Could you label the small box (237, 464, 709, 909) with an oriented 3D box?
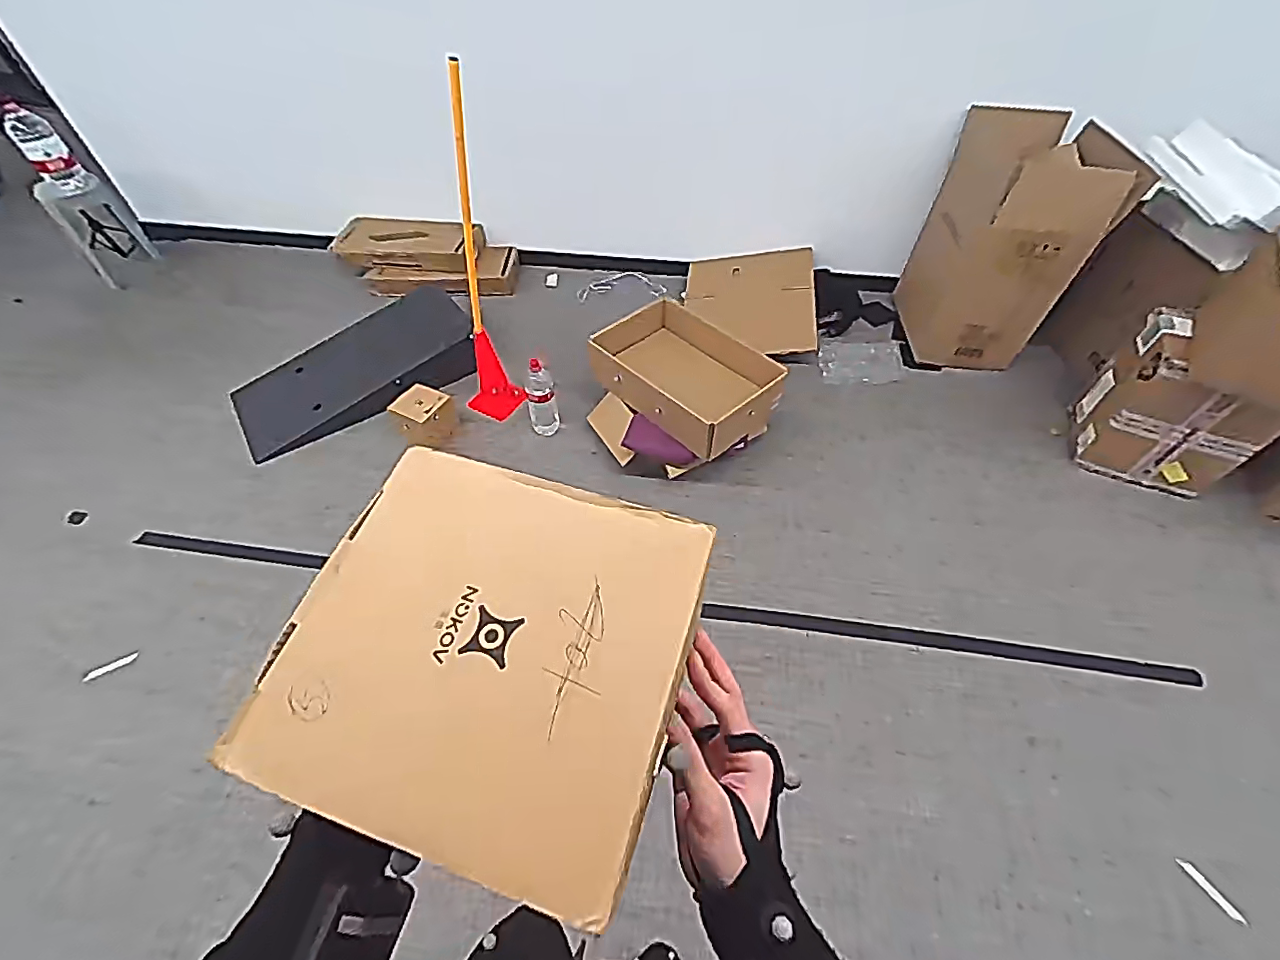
[{"bbox_3d":[-0.067,0.117,0.323,0.179,0.176,0.168,14,61,10],"label":"small box"}]
